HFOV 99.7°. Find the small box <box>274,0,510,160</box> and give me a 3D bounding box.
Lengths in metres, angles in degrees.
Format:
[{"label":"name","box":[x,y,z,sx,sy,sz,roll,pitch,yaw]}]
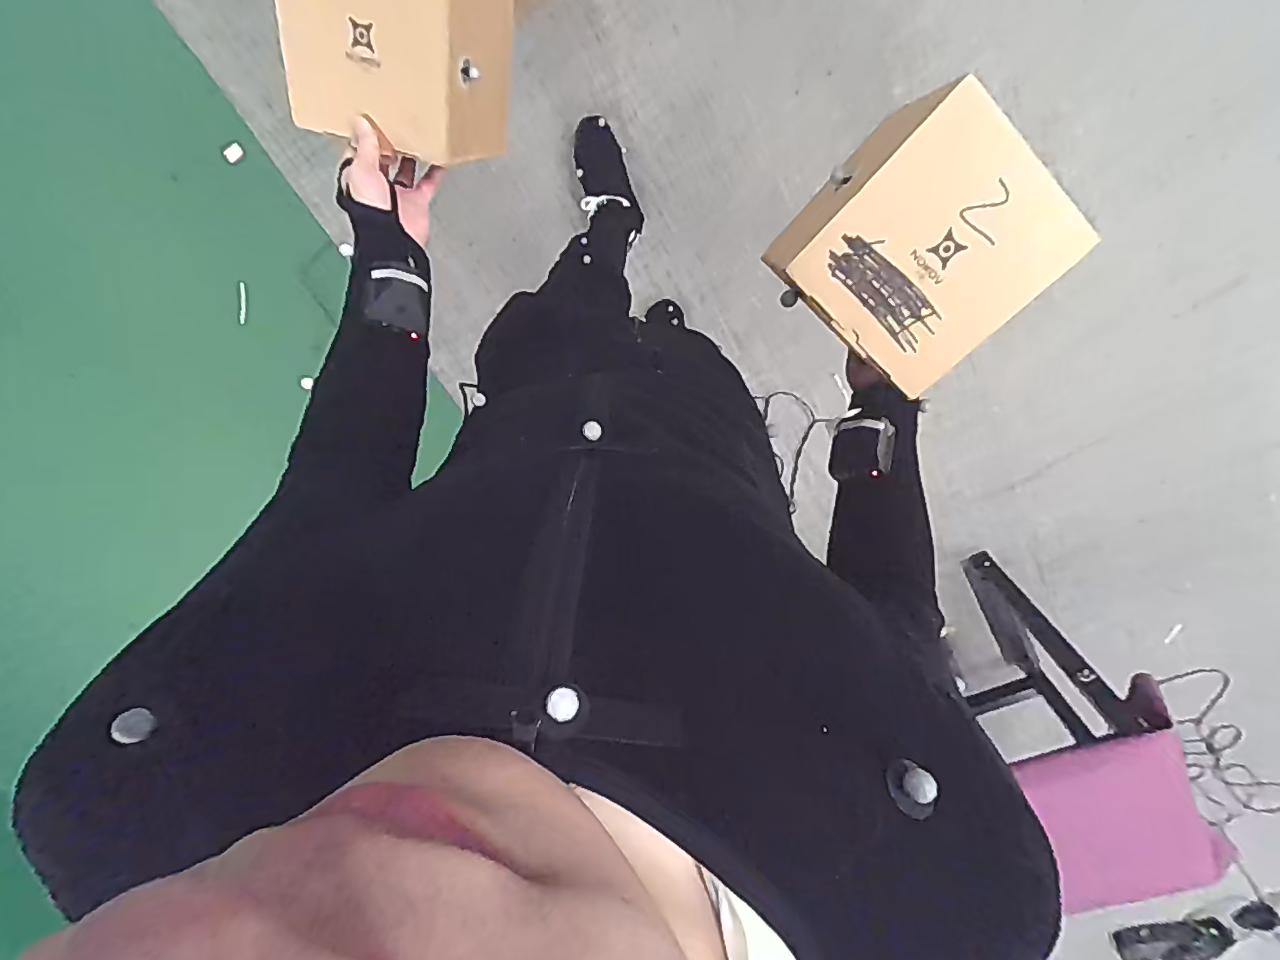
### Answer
[{"label":"small box","box":[-0.245,-0.461,0.564,0.168,0.176,0.179,16,126,0]}]
